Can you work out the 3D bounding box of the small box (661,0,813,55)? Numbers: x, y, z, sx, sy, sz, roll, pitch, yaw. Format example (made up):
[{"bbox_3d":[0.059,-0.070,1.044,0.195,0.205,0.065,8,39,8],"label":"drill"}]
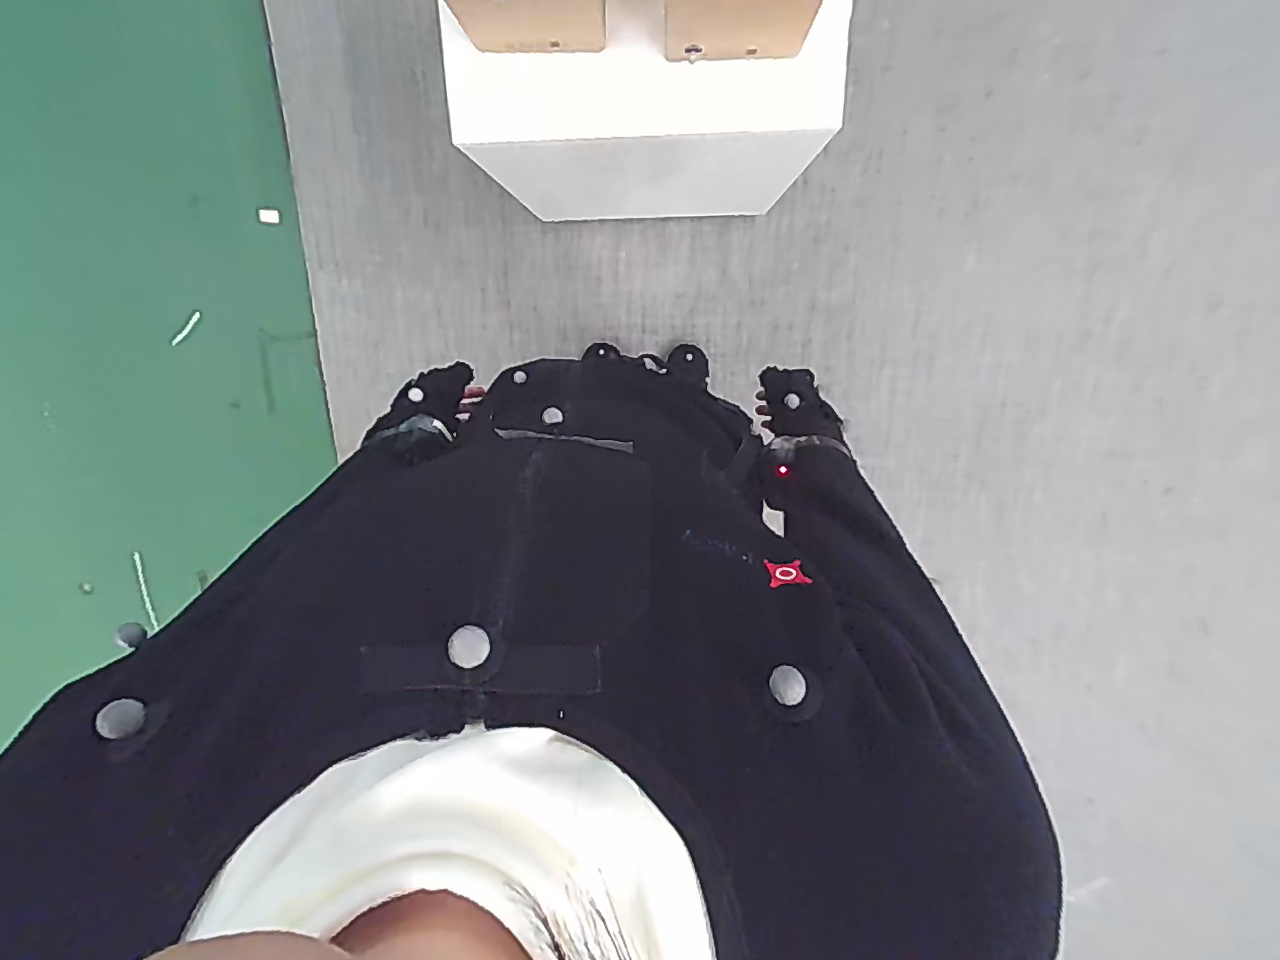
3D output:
[{"bbox_3d":[0.106,-0.589,0.577,0.168,0.176,0.179,1,104,3],"label":"small box"}]

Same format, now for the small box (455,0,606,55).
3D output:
[{"bbox_3d":[-0.126,-0.605,0.584,0.168,0.176,0.179,2,104,3],"label":"small box"}]
